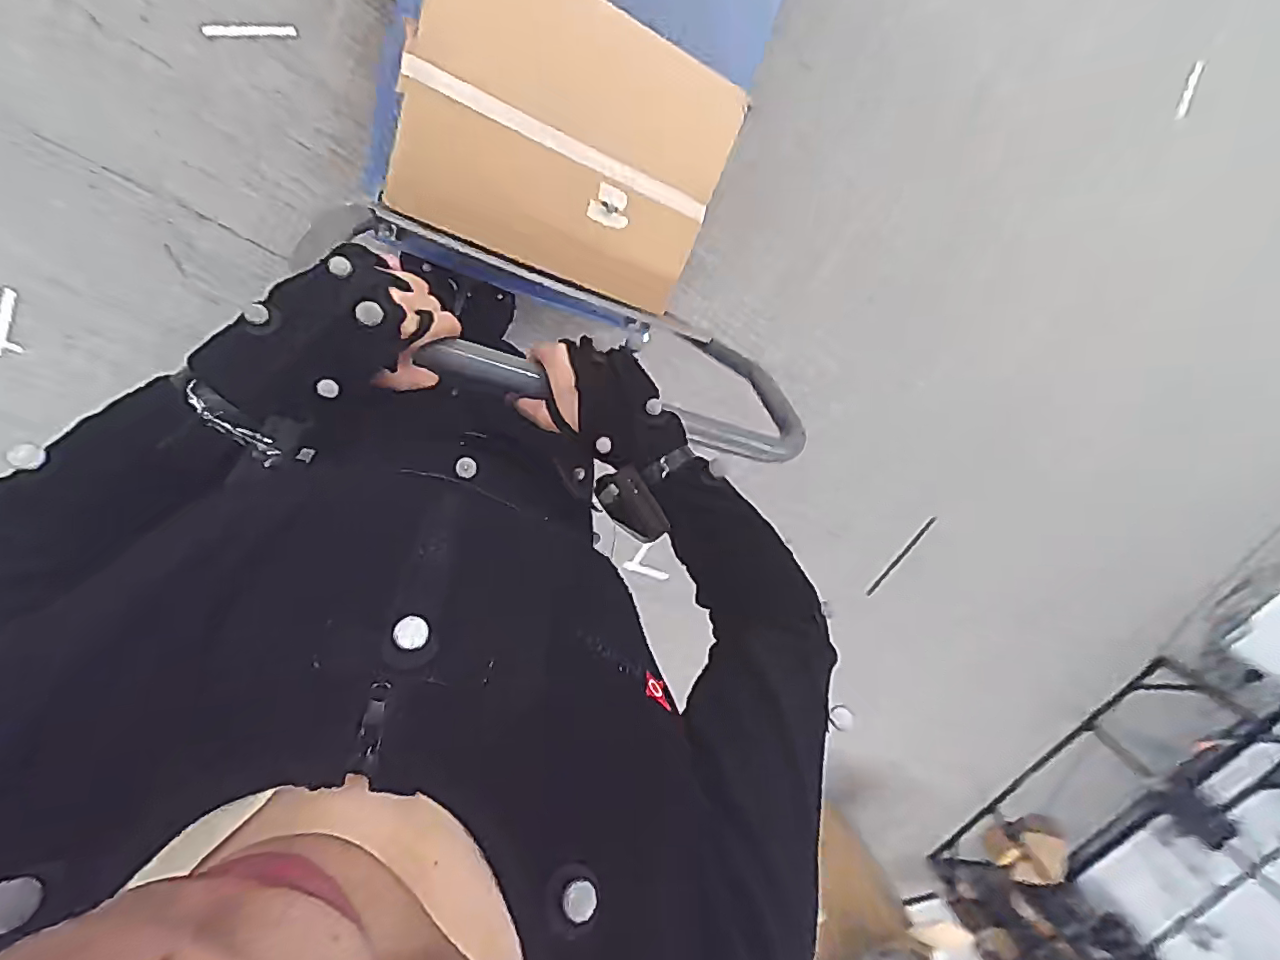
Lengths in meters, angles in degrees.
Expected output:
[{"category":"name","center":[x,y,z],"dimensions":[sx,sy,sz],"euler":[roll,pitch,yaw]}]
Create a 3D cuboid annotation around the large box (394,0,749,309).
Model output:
[{"category":"large box","center":[-0.125,-0.502,0.825],"dimensions":[0.408,0.320,0.320],"euler":[13,114,-26]}]
